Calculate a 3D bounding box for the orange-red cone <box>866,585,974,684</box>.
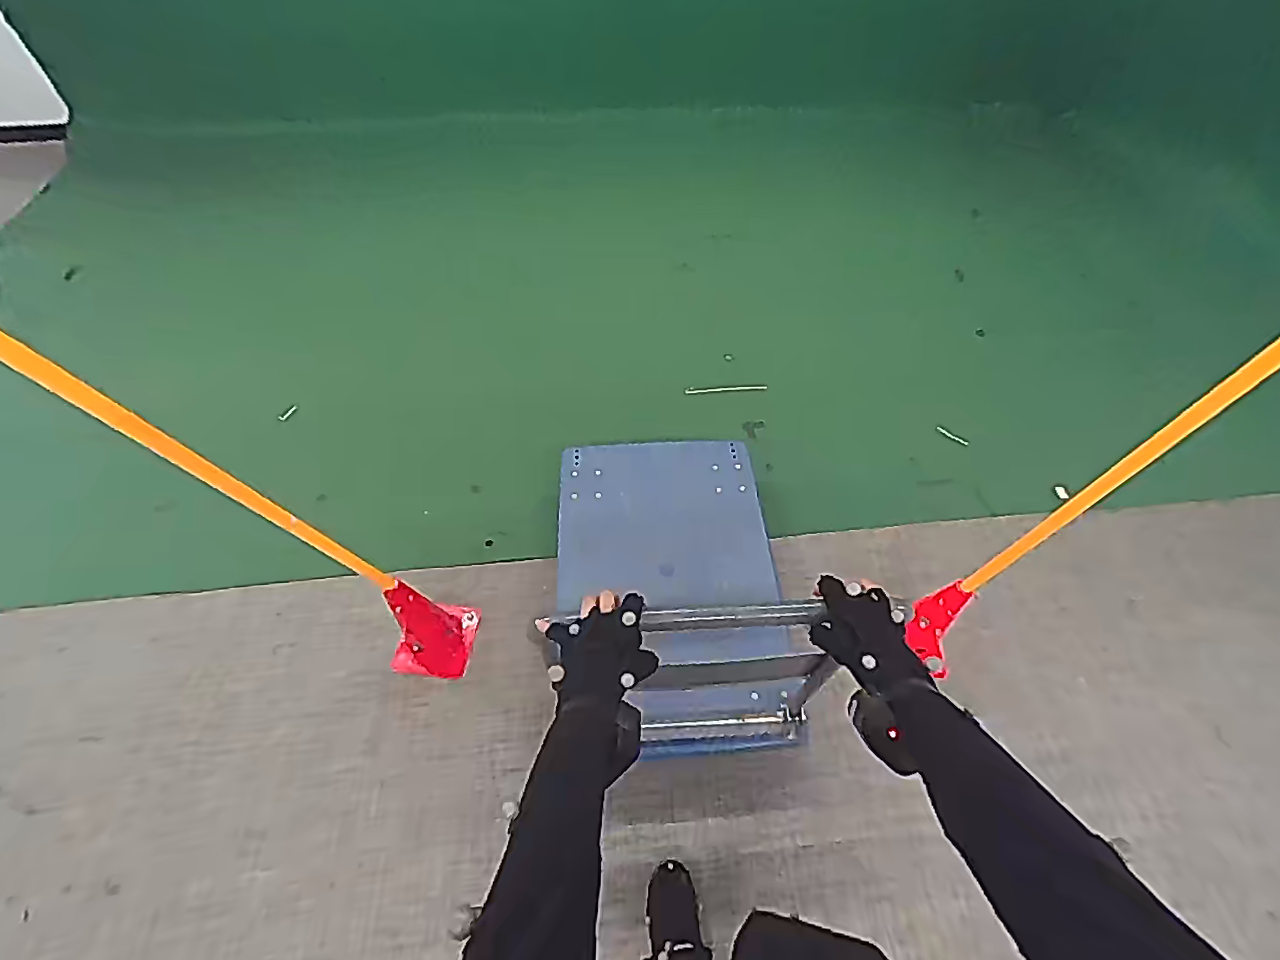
[{"bbox_3d":[0.735,0.359,1.357,0.198,0.360,0.199,4,54,3],"label":"orange-red cone"}]
